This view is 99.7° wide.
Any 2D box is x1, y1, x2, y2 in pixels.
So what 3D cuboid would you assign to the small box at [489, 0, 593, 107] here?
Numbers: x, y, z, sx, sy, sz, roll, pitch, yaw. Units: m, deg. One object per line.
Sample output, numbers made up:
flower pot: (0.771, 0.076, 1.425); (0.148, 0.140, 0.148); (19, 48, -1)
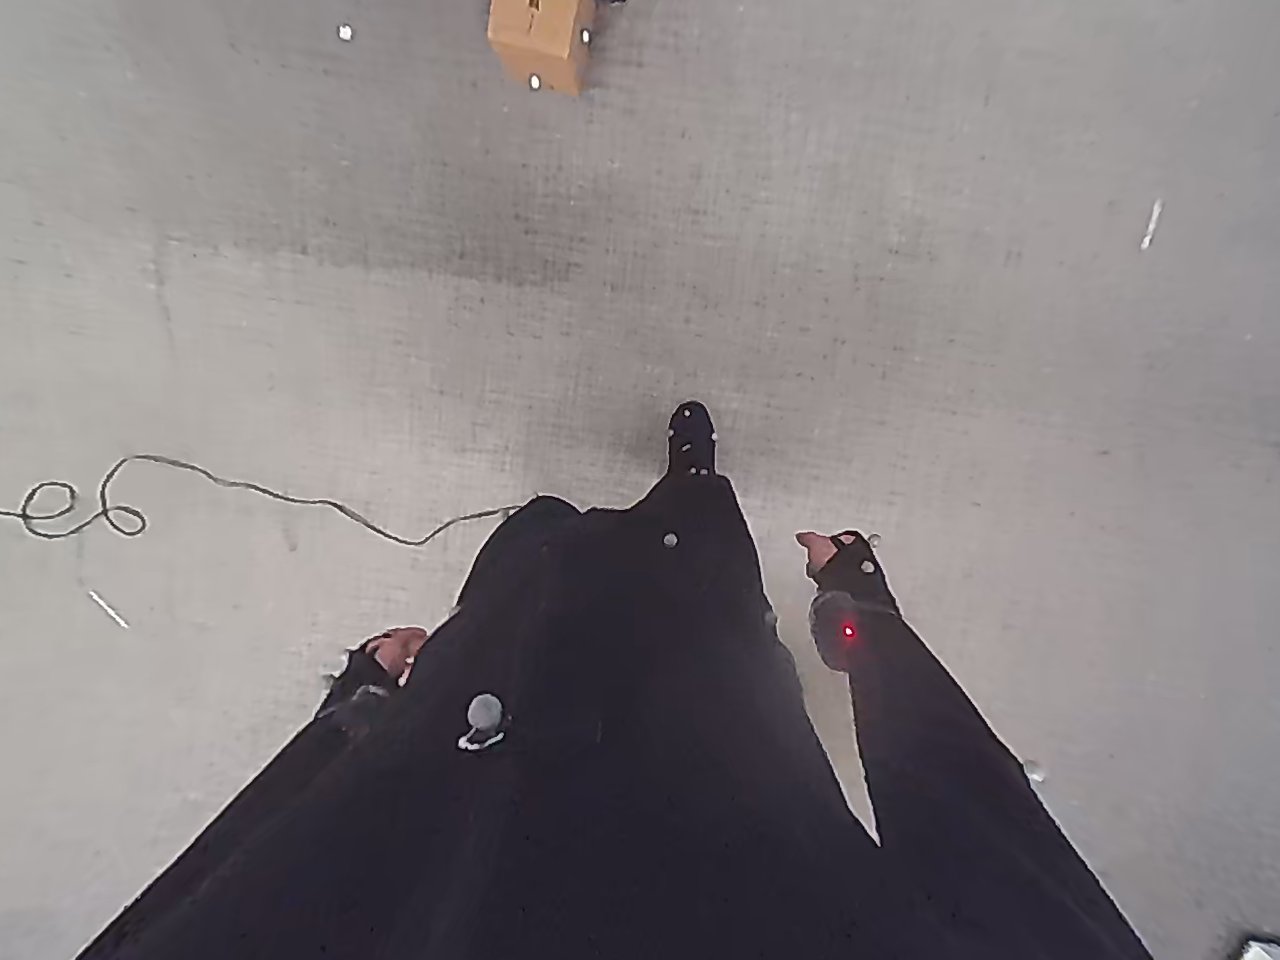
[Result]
small box: (-0.199, -0.928, 1.130); (0.168, 0.176, 0.179); (13, 102, -1)
